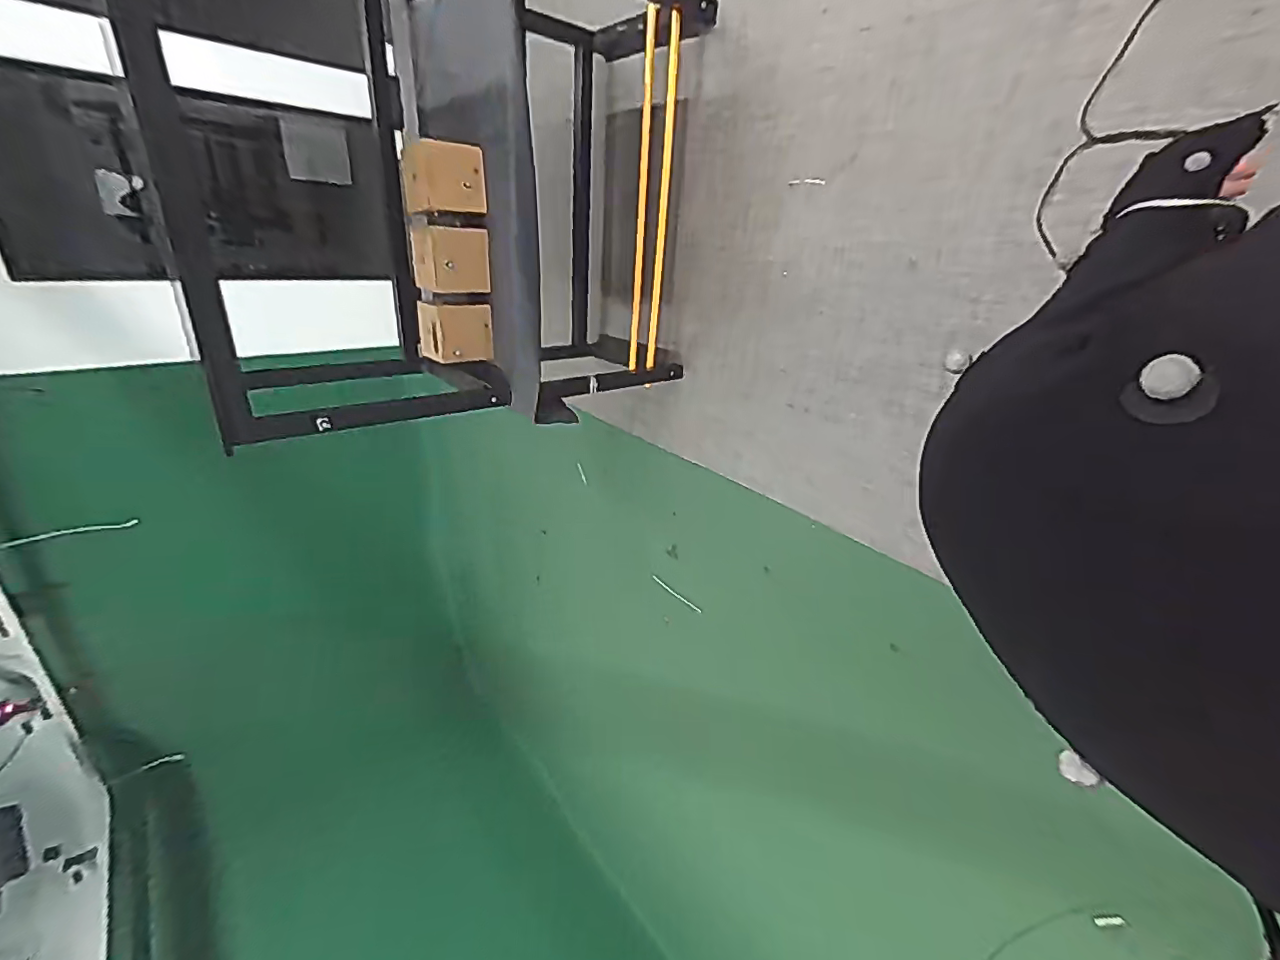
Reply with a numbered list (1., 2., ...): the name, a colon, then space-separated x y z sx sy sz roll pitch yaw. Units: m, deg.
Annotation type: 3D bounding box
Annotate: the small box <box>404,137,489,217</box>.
1. small box: -0.546 -0.848 1.531 0.179 0.176 0.168 20 119 46
